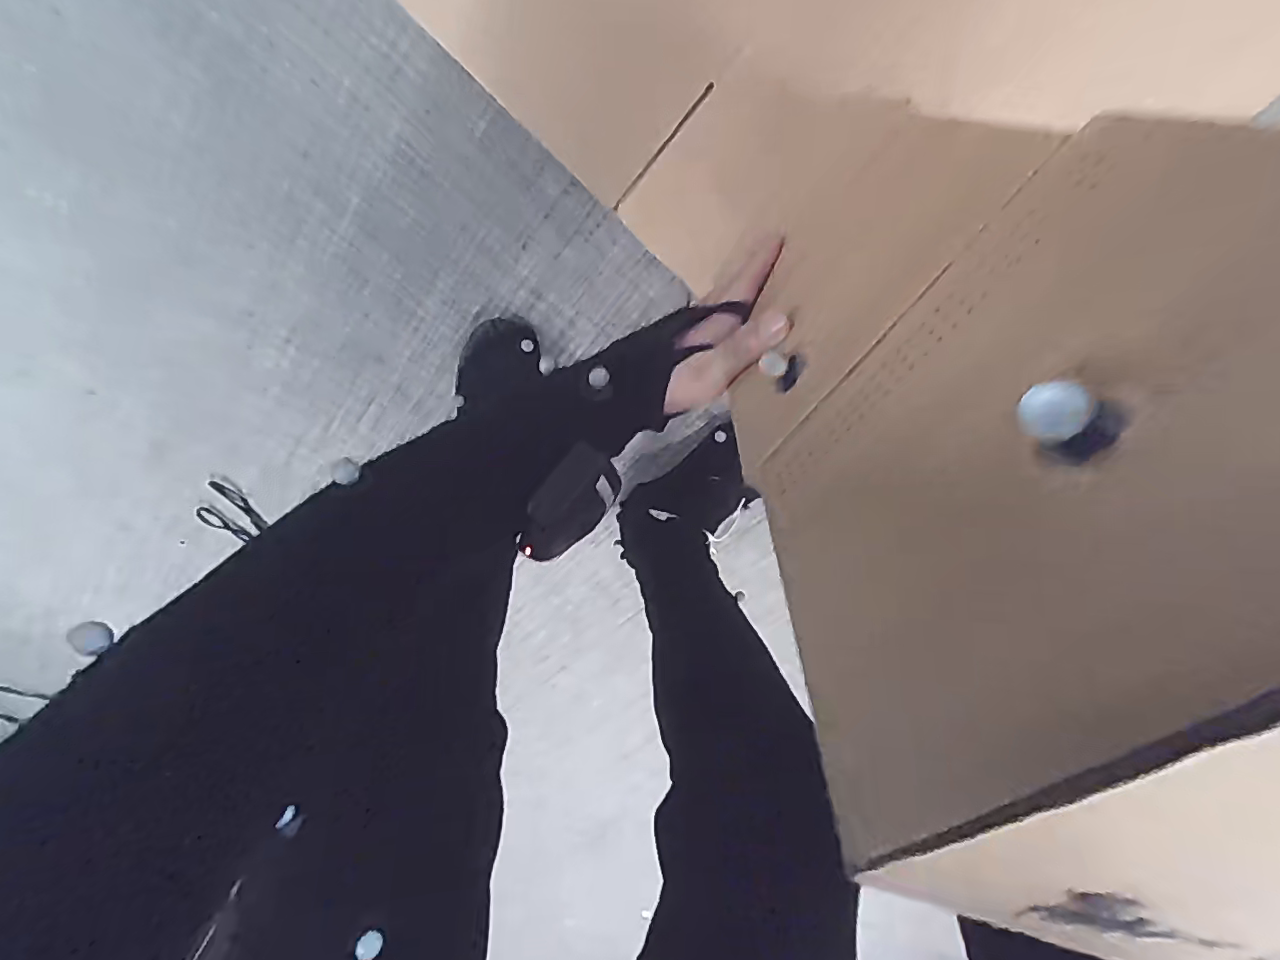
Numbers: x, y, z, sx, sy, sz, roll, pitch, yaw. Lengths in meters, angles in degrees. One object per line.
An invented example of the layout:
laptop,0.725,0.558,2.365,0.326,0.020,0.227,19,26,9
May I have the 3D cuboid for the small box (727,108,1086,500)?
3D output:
small box,0.163,-0.070,0.304,0.168,0.176,0.179,27,123,-17
